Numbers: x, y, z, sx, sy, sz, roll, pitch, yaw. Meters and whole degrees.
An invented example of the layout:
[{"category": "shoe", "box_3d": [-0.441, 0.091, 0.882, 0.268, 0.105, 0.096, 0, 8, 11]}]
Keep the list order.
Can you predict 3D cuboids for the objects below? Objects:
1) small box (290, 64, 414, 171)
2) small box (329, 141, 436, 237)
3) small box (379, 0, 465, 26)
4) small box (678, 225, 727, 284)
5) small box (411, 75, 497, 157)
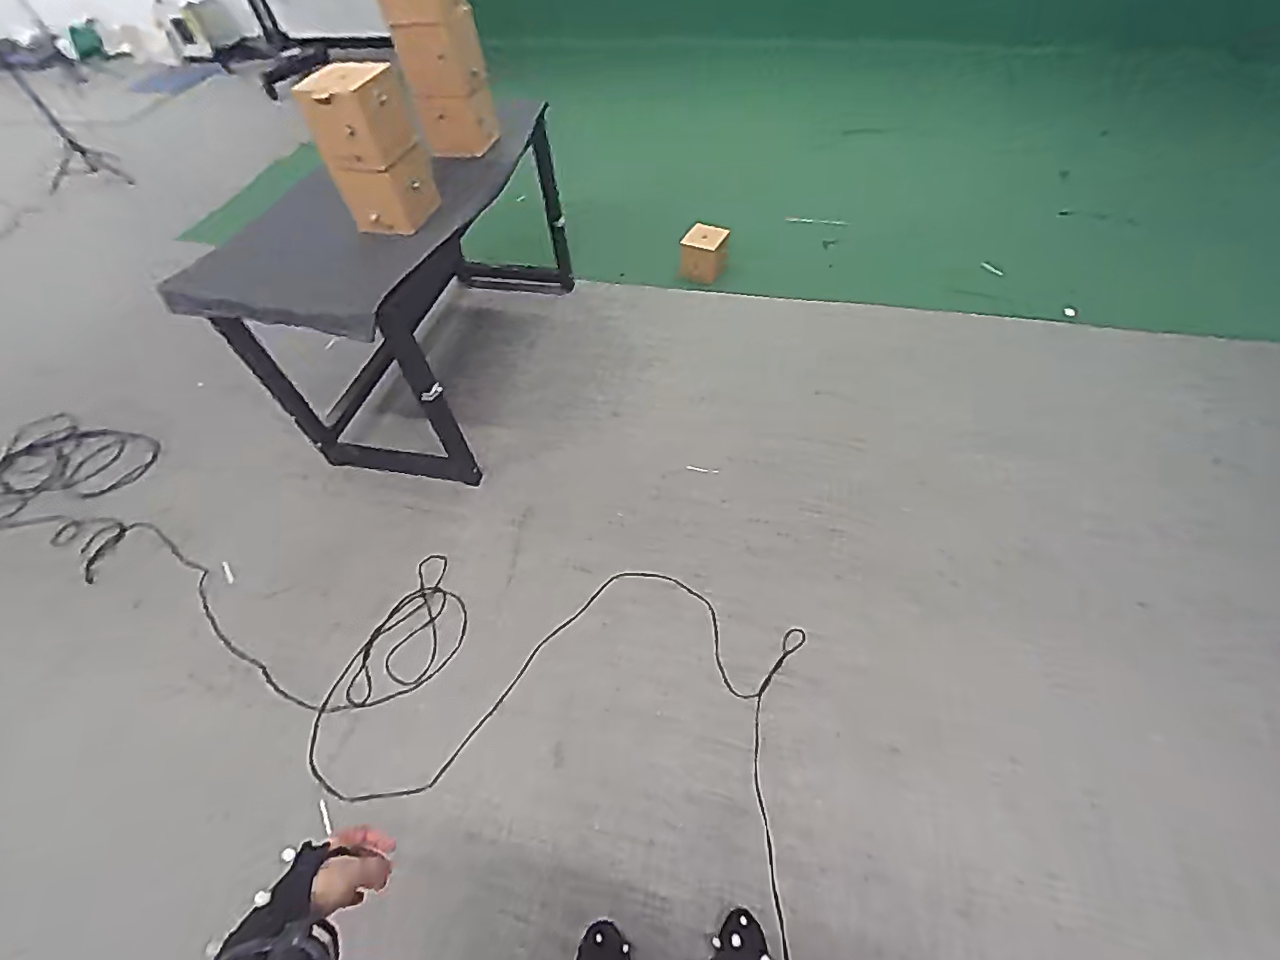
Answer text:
[{"category": "small box", "box_3d": [-0.672, -0.864, 1.292, 0.168, 0.176, 0.179, 10, 54, 11]}, {"category": "small box", "box_3d": [-0.664, -0.771, 1.425, 0.168, 0.176, 0.179, 9, 56, 11]}, {"category": "small box", "box_3d": [-0.588, -1.317, 1.412, 0.179, 0.176, 0.168, 5, 55, 9]}, {"category": "small box", "box_3d": [0.282, -1.020, 2.448, 0.168, 0.176, 0.179, 23, 58, 18]}, {"category": "small box", "box_3d": [-0.565, -1.125, 1.677, 0.179, 0.176, 0.168, 8, 55, 11]}]
